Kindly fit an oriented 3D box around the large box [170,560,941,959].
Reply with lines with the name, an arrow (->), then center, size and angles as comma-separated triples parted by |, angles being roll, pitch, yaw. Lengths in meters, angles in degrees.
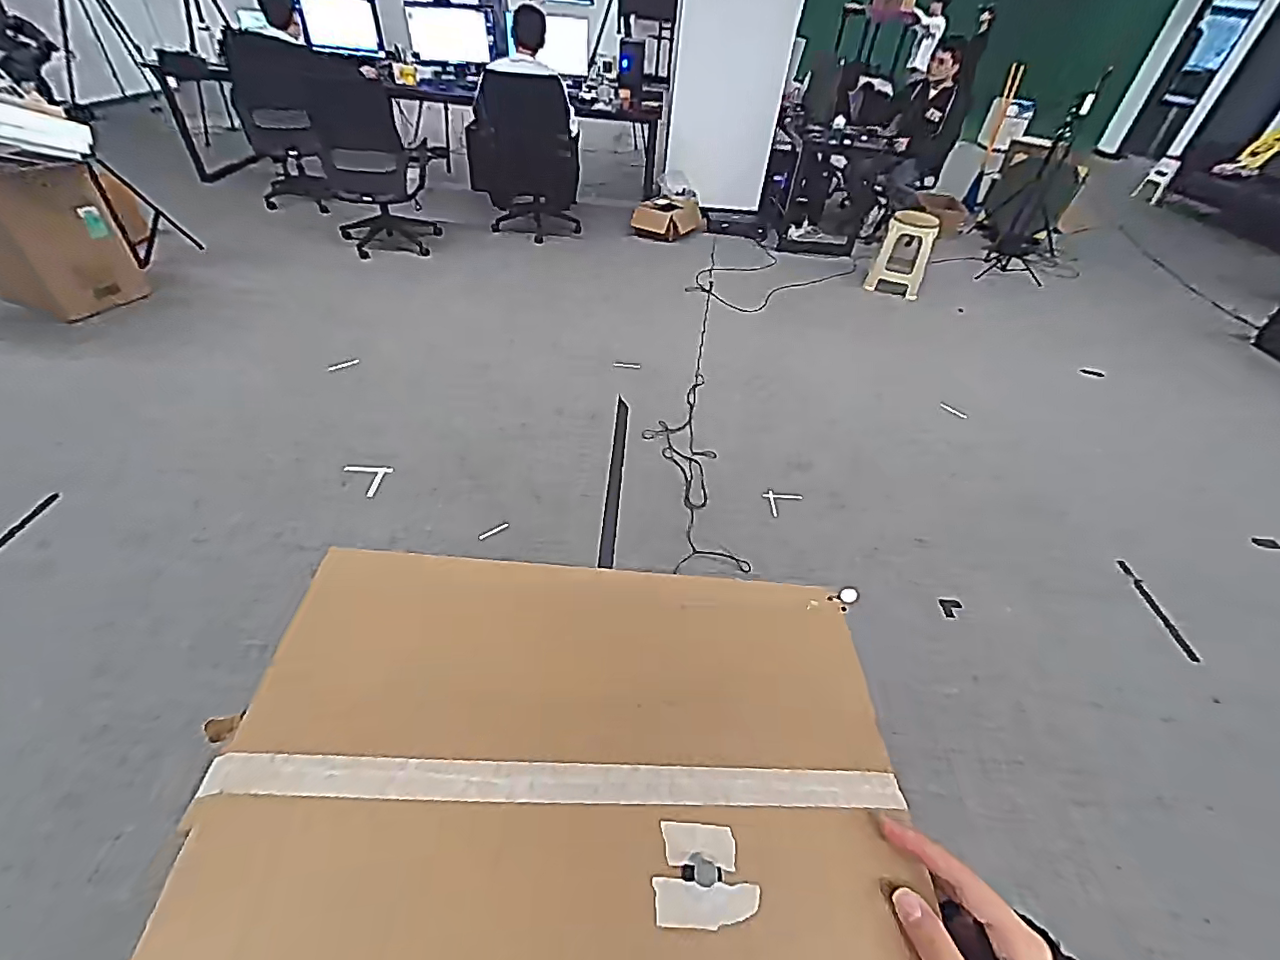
large box -> -0.054, 0.291, 0.441 | 0.408, 0.320, 0.320 | 6, 46, -8
